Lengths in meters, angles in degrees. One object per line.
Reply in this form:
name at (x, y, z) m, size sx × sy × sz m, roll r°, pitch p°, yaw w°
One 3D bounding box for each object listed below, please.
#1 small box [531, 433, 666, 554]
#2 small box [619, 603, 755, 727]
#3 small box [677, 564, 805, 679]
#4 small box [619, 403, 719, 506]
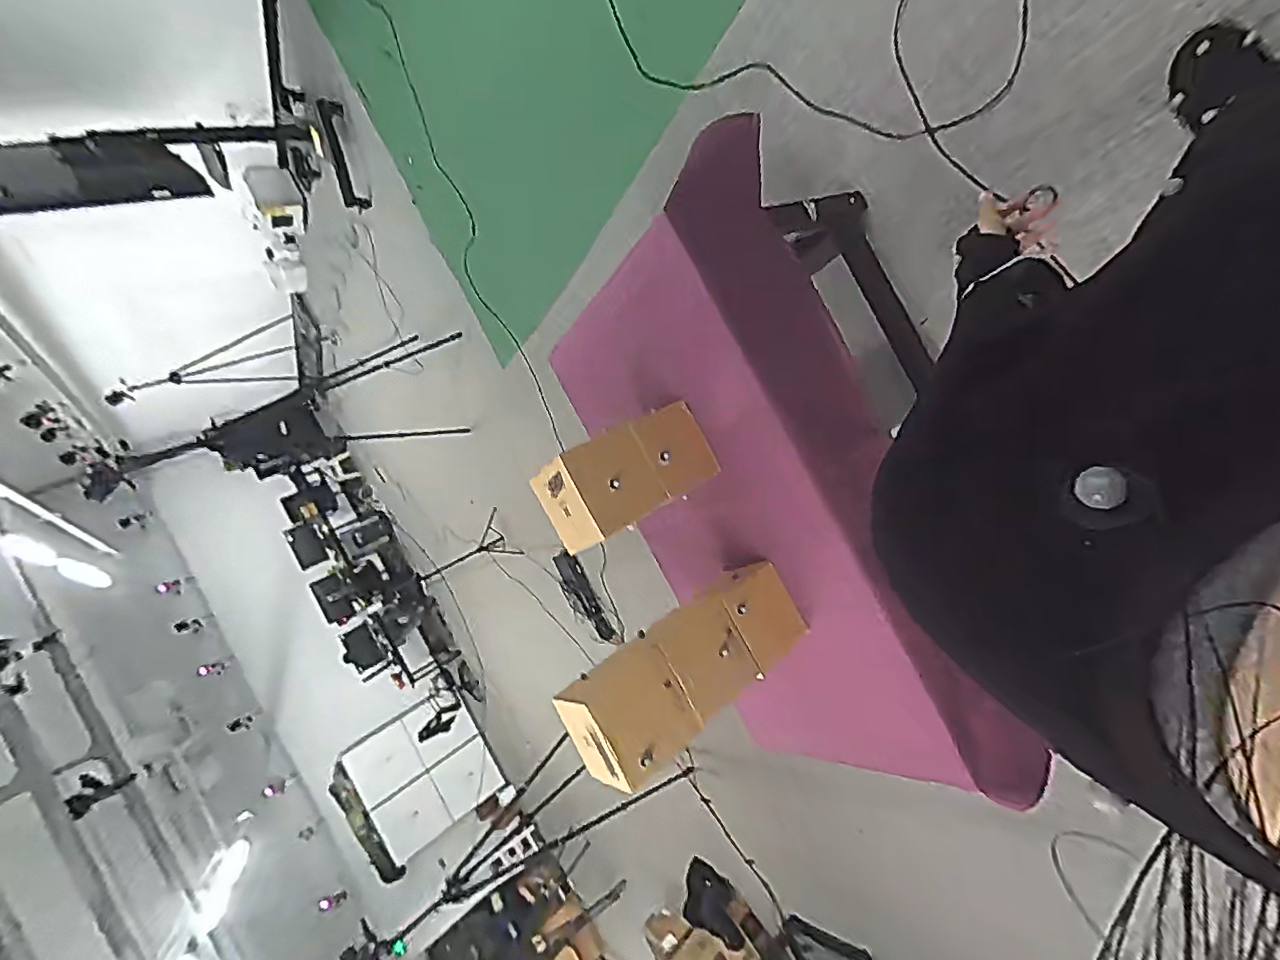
small box at (-0.082, 0.021, 1.078) m, size 0.168 × 0.176 × 0.179 m, roll -30°, pitch 88°, yaw 55°
small box at (0.093, 0.362, 1.078) m, size 0.168 × 0.176 × 0.179 m, roll 61°, pitch 146°, yaw 3°
small box at (0.220, 0.306, 1.167) m, size 0.168 × 0.176 × 0.179 m, roll -32°, pitch 85°, yaw 56°
small box at (0.039, -0.041, 1.169) m, size 0.168 × 0.176 × 0.179 m, roll -29°, pitch 88°, yaw 55°
